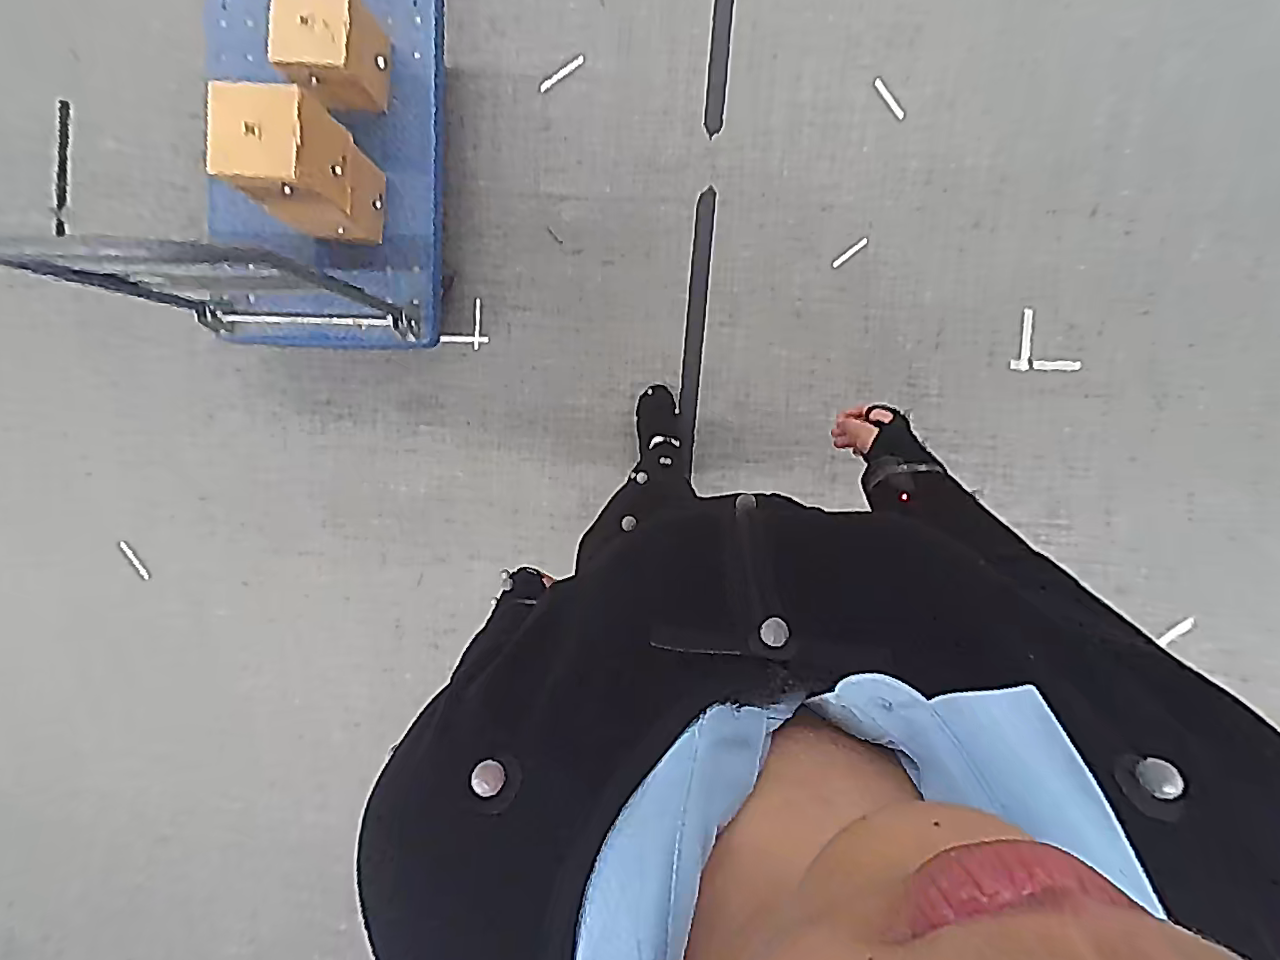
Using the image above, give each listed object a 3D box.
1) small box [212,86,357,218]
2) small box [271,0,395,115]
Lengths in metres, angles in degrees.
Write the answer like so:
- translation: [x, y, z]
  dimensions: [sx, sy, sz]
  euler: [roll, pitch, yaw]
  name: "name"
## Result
- translation: [-0.698, -0.641, 1.073]
  dimensions: [0.179, 0.176, 0.168]
  euler: [4, 93, 2]
  name: "small box"
- translation: [-0.683, -0.957, 1.217]
  dimensions: [0.179, 0.176, 0.168]
  euler: [6, 94, 3]
  name: "small box"
